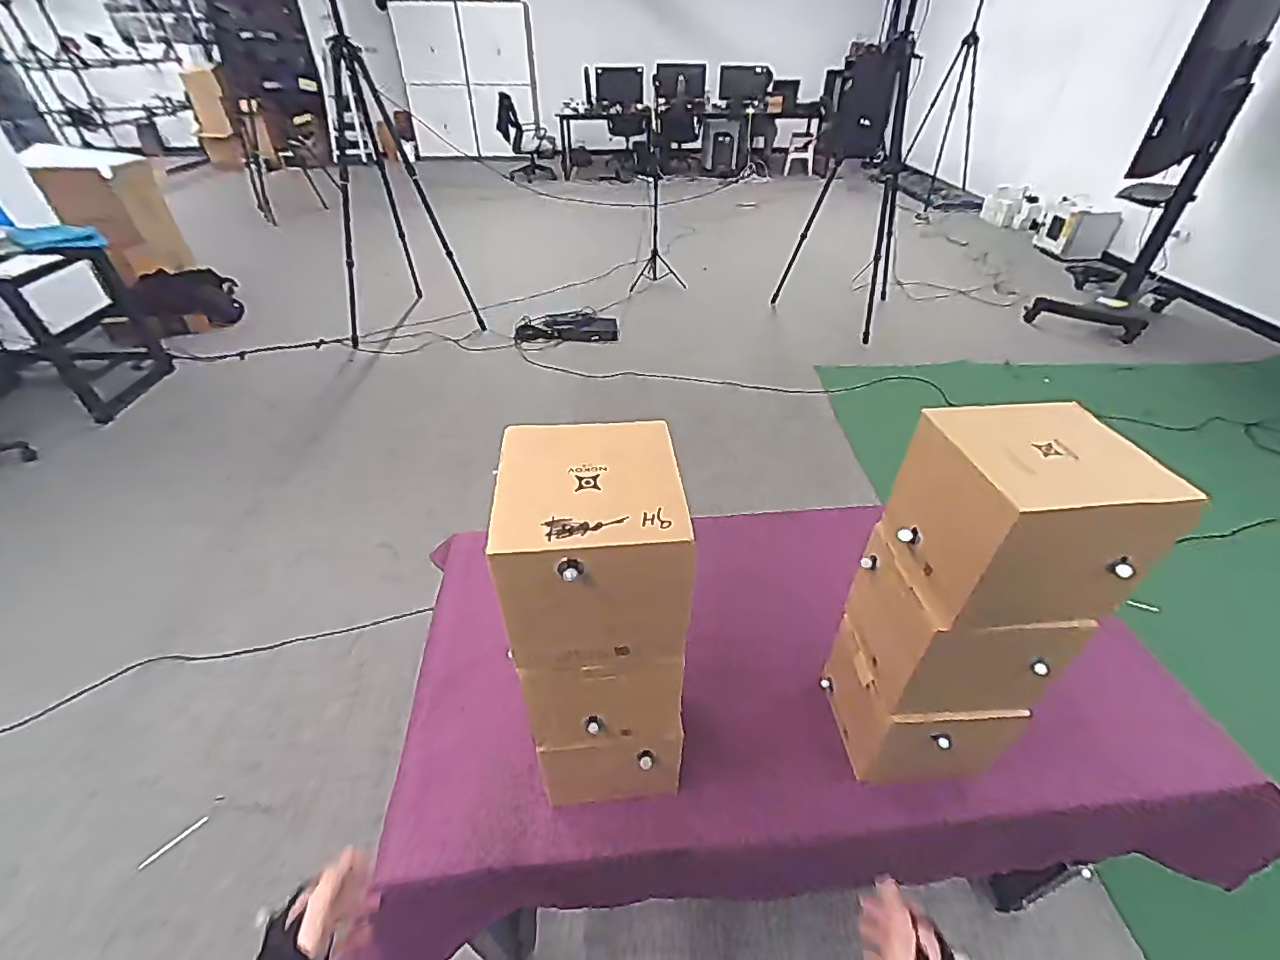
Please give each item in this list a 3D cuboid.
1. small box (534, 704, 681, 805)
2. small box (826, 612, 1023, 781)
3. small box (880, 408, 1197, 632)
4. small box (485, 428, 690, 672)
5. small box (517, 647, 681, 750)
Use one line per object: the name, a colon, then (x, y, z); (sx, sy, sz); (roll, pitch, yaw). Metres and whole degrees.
small box: (-0.045, 0.322, 0.744); (0.179, 0.176, 0.168); (-4, 39, -4)
small box: (0.378, 0.305, 0.763); (0.179, 0.176, 0.168); (-2, 39, -3)
small box: (0.388, 0.041, 0.569); (0.179, 0.176, 0.168); (-3, 39, -4)
small box: (-0.048, 0.066, 0.541); (0.168, 0.176, 0.179); (-3, 39, -4)
small box: (-0.048, 0.192, 0.645); (0.168, 0.176, 0.179); (-4, 40, -5)
